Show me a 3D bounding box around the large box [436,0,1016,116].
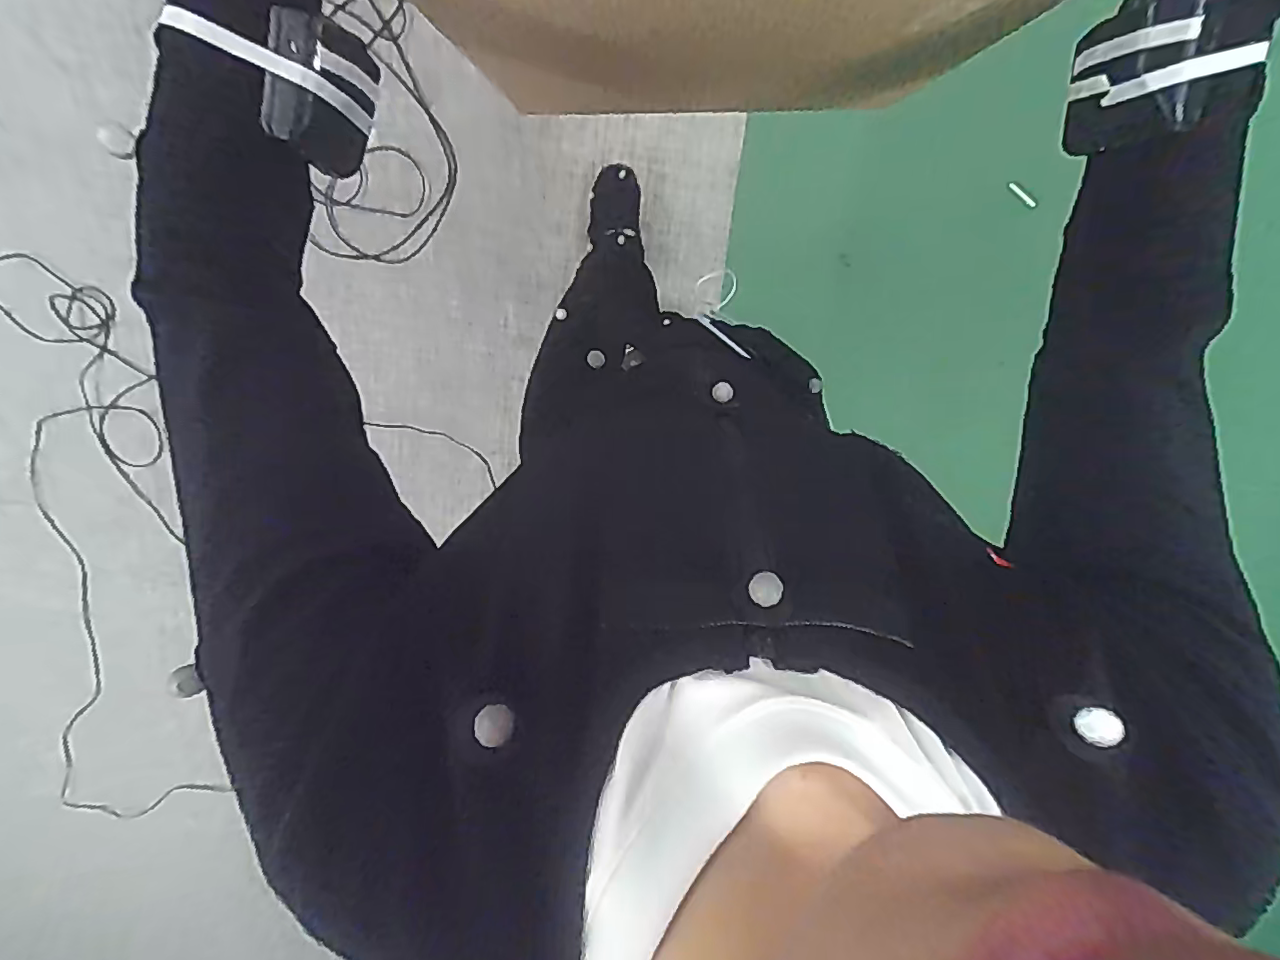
[{"bbox_3d":[0.059,-0.489,0.392,0.408,0.320,0.320,-1,112,1],"label":"large box"}]
